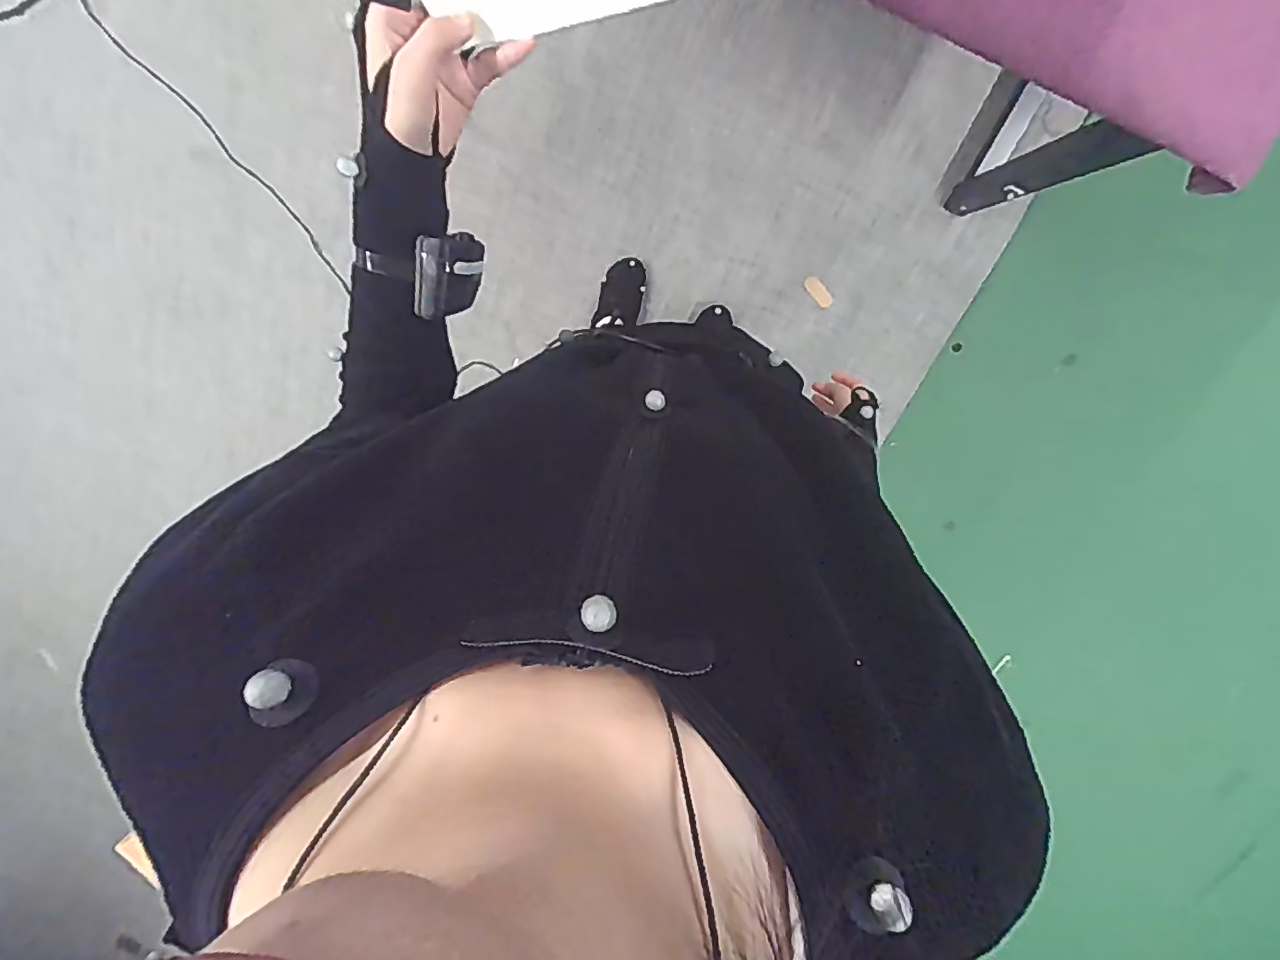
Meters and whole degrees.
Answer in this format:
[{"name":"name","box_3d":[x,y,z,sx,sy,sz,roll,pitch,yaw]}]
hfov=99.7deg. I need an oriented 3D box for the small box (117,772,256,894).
[{"name":"small box","box_3d":[-1.141,0.891,1.376,0.168,0.176,0.179,-32,101,15]}]
